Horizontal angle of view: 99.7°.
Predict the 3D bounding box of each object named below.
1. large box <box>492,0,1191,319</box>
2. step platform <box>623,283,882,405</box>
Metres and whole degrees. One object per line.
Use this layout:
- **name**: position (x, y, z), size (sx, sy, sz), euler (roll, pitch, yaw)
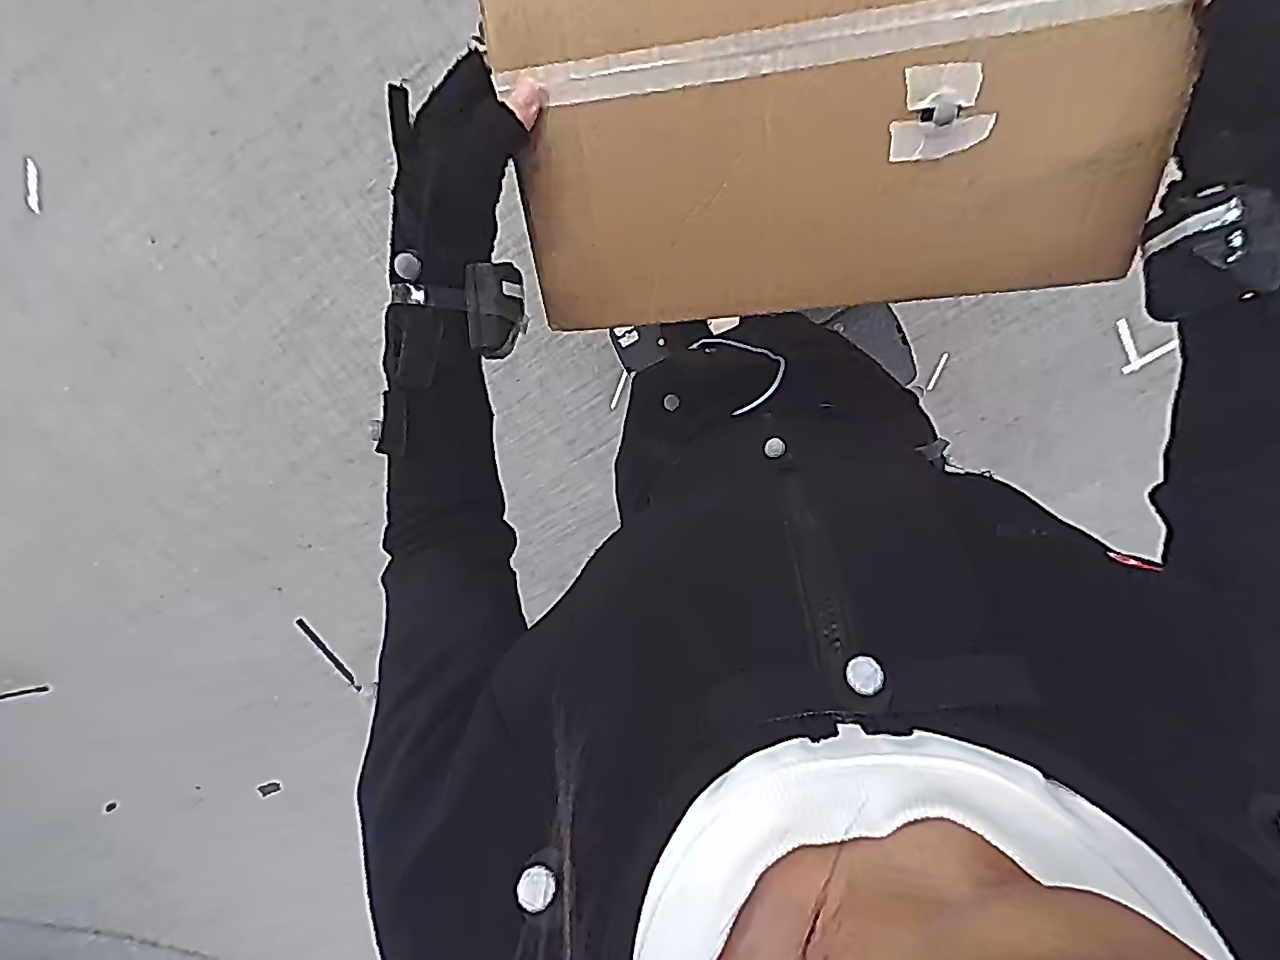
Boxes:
- **large box**: position (0.122, -0.349, 0.449), size (0.408, 0.320, 0.320), euler (-3, 123, 8)
- **step platform**: position (0.294, -0.480, 1.400), size (0.684, 0.204, 0.286), euler (-31, 106, 12)
